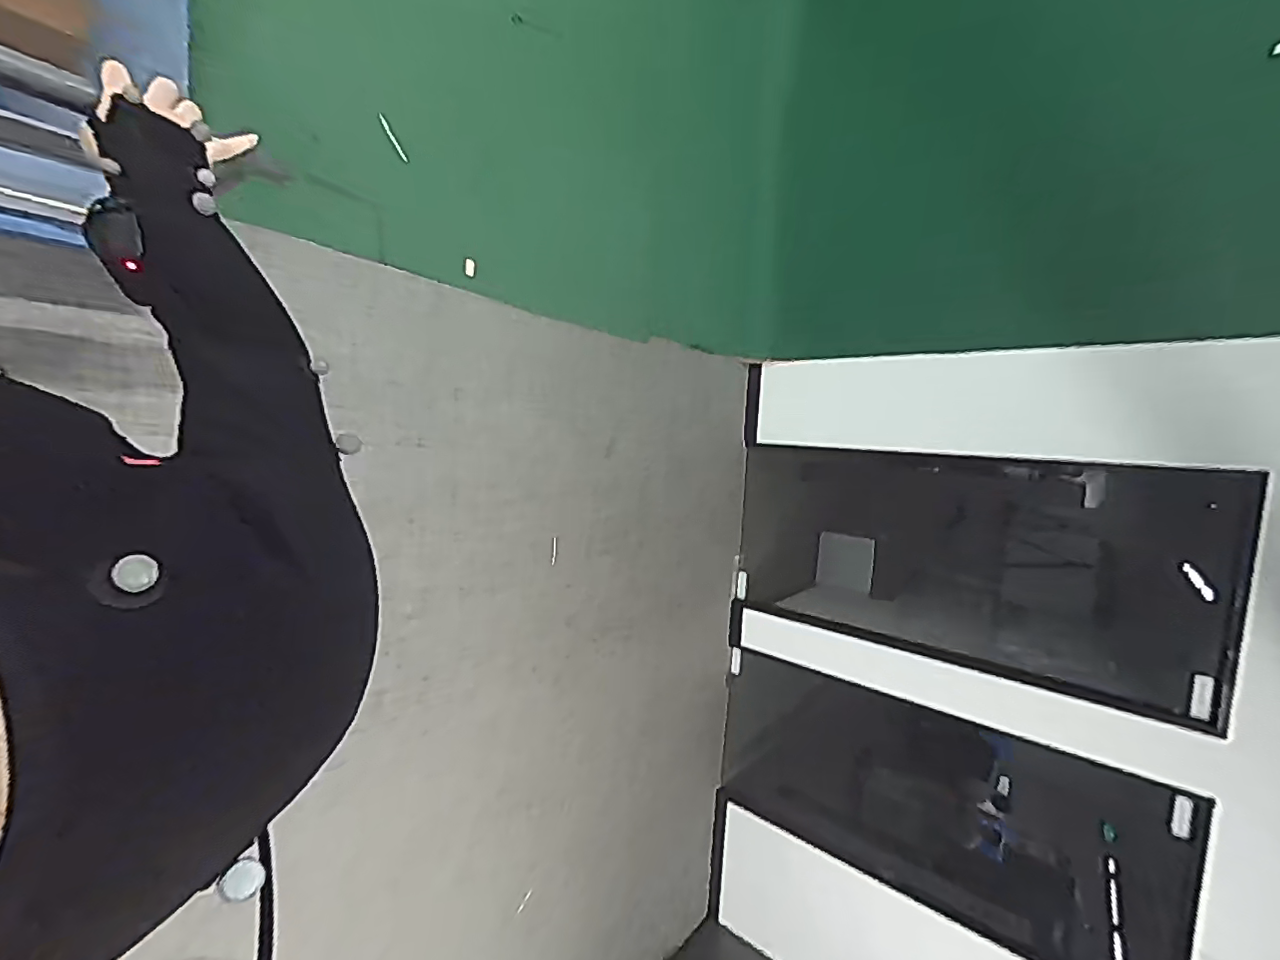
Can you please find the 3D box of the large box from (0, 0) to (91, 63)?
[{"bbox_3d":[-0.963,-0.836,0.658,0.408,0.320,0.320,1,94,-52],"label":"large box"}]
